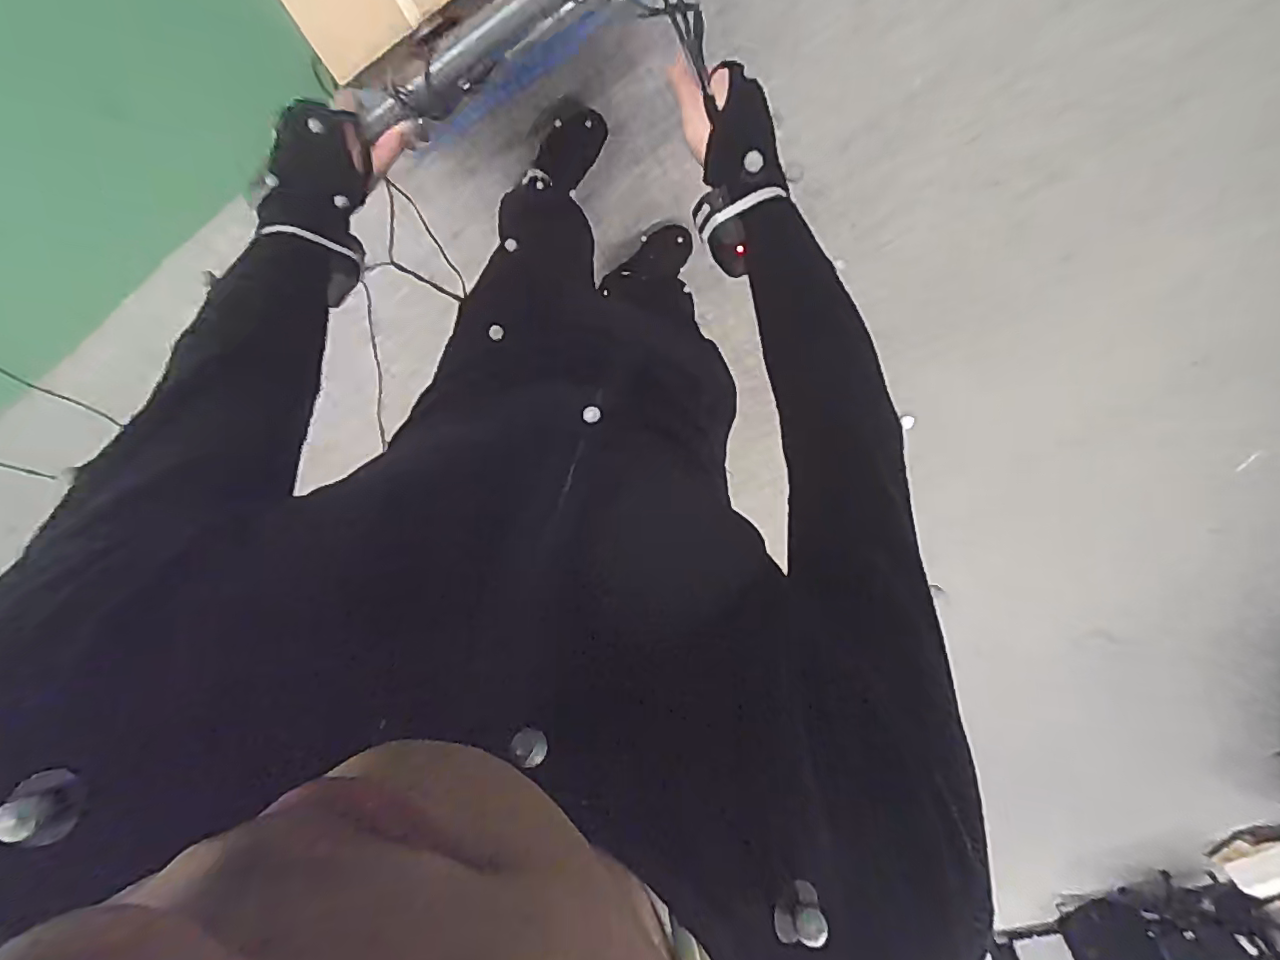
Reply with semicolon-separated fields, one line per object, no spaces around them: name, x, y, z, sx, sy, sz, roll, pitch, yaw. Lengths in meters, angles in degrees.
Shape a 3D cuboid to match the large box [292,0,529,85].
large box;-0.398;-0.891;0.803;0.320;0.320;0.408;-23;122;15
